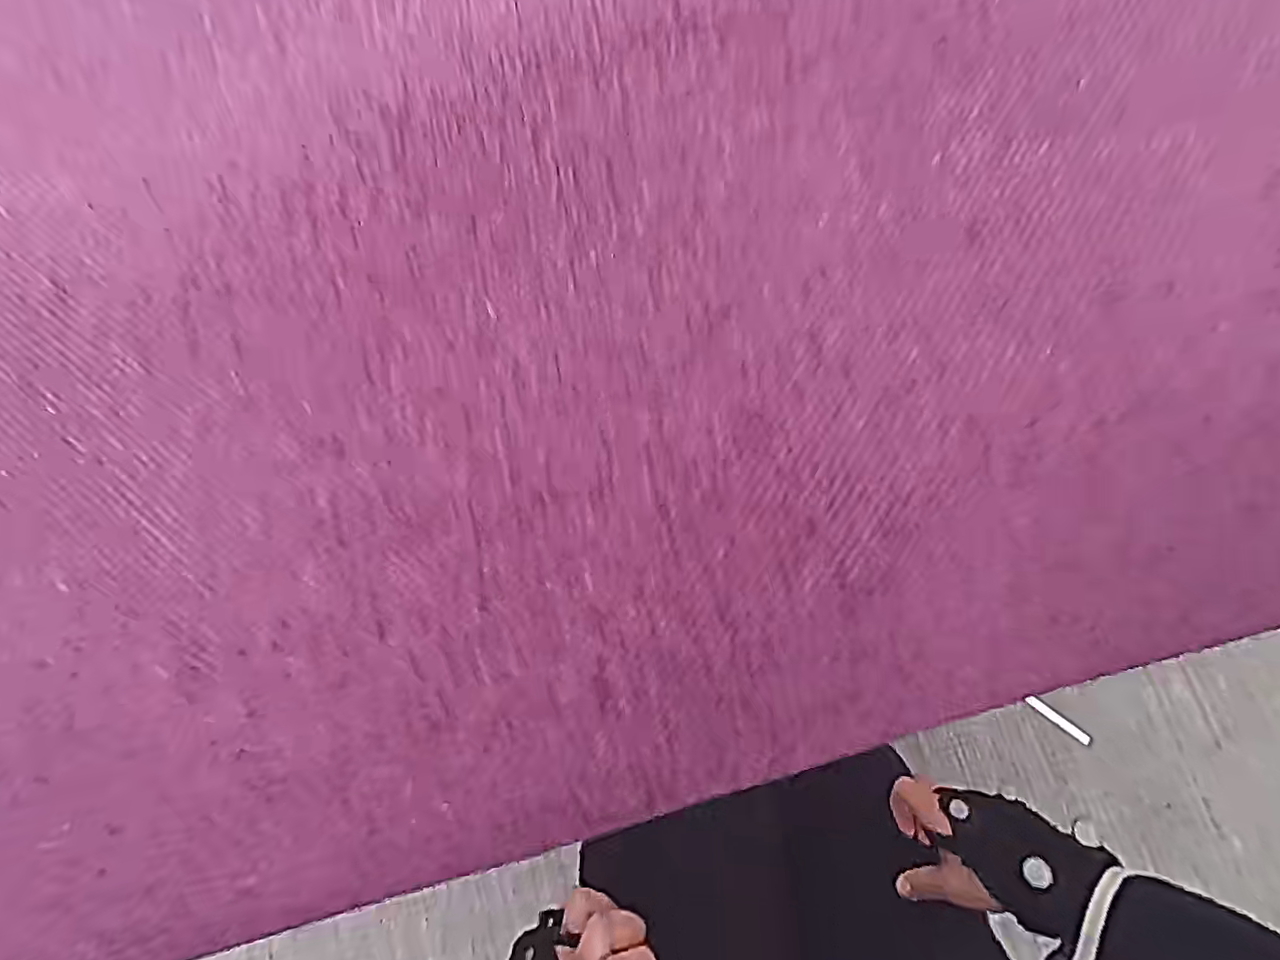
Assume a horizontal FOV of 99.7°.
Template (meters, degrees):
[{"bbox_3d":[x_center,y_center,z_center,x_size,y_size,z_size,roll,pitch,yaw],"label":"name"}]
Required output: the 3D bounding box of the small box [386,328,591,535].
[{"bbox_3d":[-0.169,-0.046,0.645,0.168,0.176,0.179,-19,78,1],"label":"small box"}]
